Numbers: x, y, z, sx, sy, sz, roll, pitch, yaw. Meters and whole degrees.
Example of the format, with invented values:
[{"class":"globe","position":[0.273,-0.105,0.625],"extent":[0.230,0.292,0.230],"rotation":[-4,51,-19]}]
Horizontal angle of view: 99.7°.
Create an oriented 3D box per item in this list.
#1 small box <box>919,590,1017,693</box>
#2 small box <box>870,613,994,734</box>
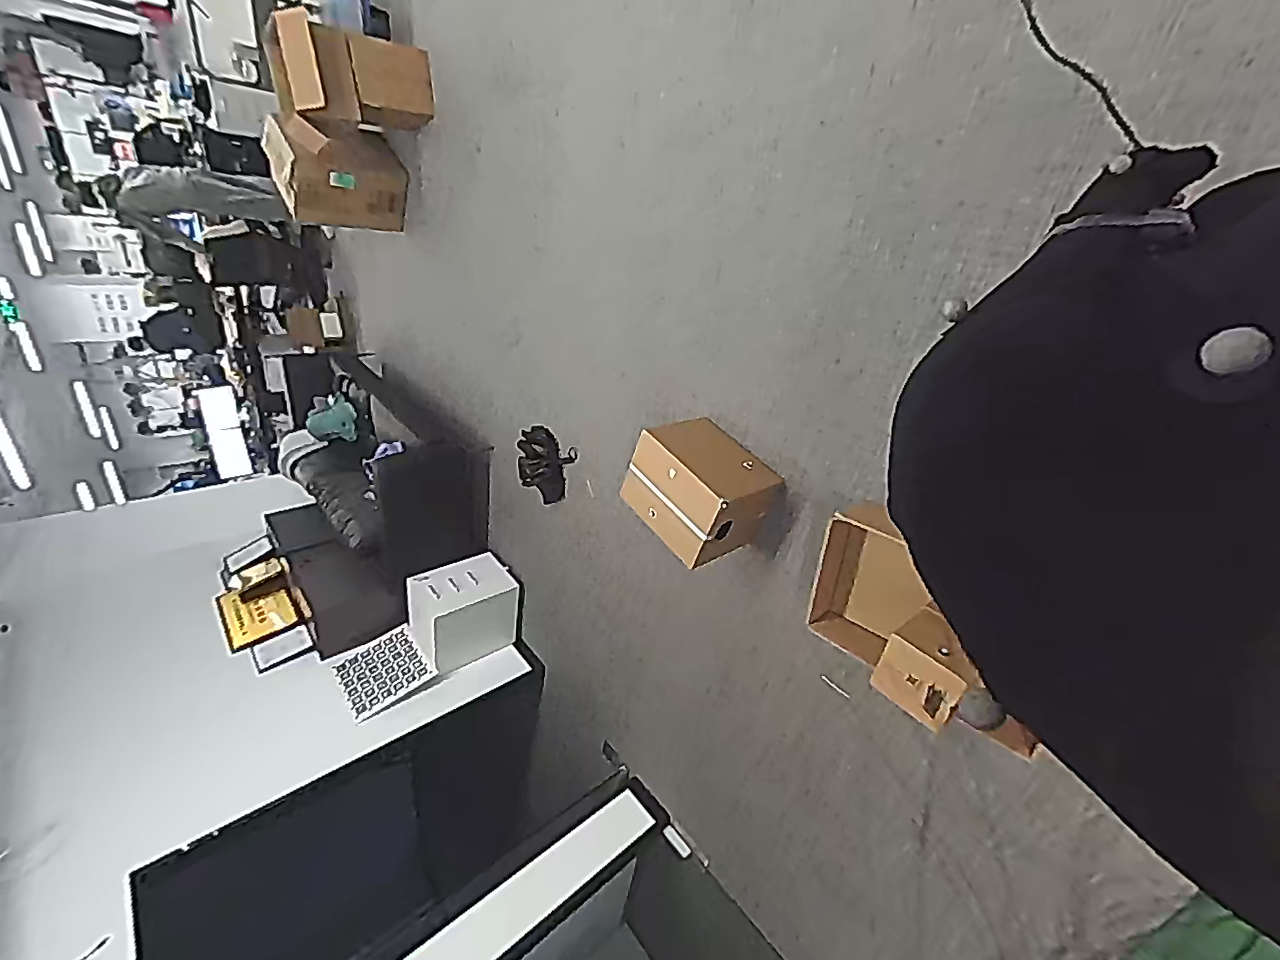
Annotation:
[{"class":"small box","position":[0.804,0.405,1.363],"extent":[0.179,0.176,0.168],"rotation":[37,128,40]},{"class":"small box","position":[0.681,0.441,1.261],"extent":[0.179,0.176,0.168],"rotation":[36,127,40]}]
